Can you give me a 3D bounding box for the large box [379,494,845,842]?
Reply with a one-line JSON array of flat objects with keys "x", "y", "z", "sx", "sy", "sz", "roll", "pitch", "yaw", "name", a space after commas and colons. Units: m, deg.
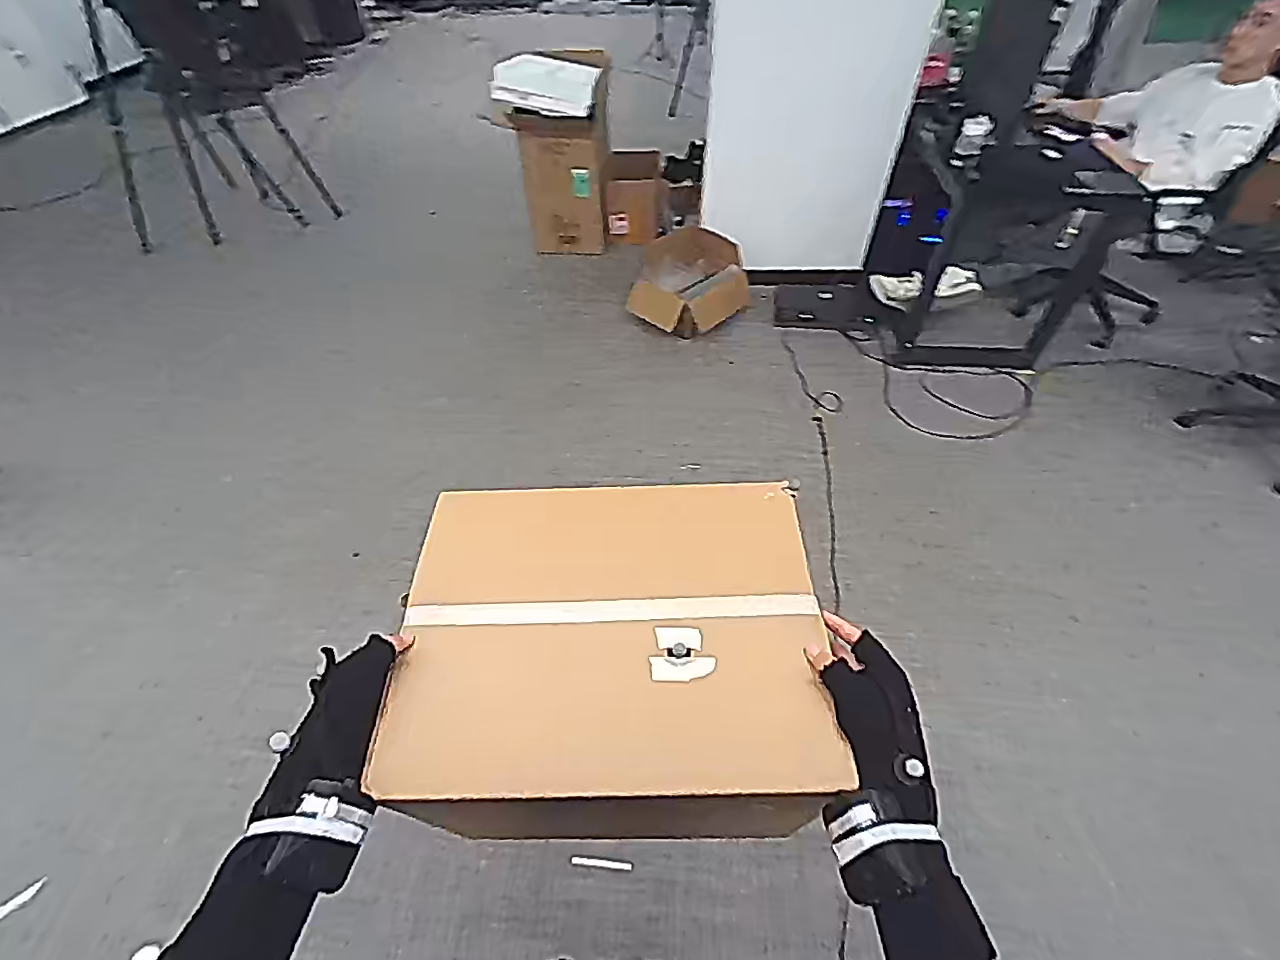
[{"x": -0.025, "y": 0.236, "z": 0.661, "sx": 0.408, "sy": 0.320, "sz": 0.320, "roll": -2, "pitch": 52, "yaw": 1, "name": "large box"}]
